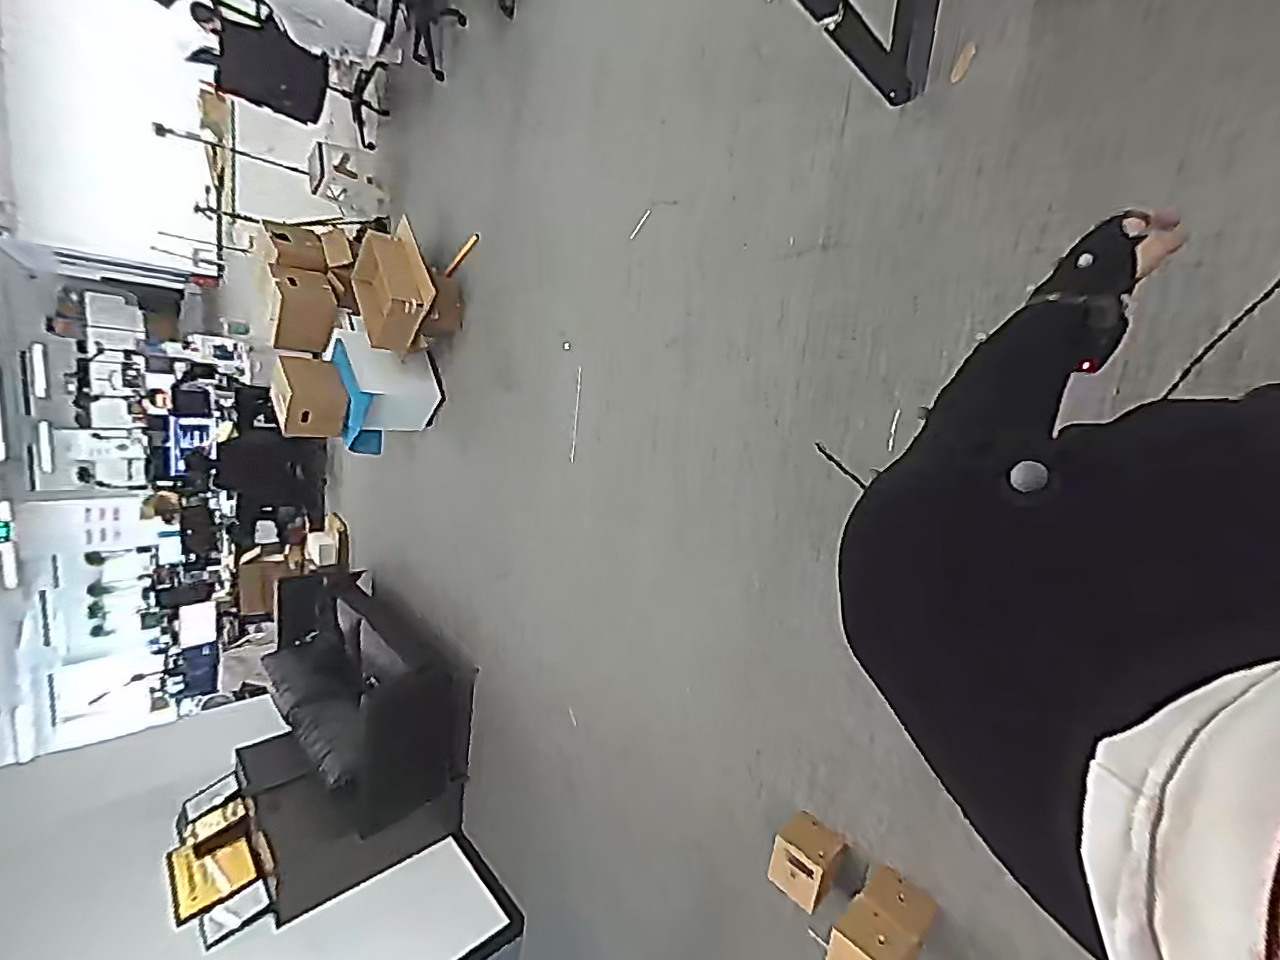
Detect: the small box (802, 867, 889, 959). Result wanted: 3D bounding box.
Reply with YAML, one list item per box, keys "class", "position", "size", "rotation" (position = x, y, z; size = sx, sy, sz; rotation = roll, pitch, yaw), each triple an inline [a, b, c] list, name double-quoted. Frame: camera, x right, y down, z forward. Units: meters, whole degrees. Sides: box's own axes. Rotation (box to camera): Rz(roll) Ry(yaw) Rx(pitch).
- class: "small box"
  position: [0.587, 1.259, 1.534]
  size: [0.168, 0.176, 0.179]
  rotation: [17, 106, 42]

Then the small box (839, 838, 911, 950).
- class: "small box"
  position: [0.702, 1.248, 1.648]
  size: [0.168, 0.176, 0.179]
  rotation: [20, 108, 42]
